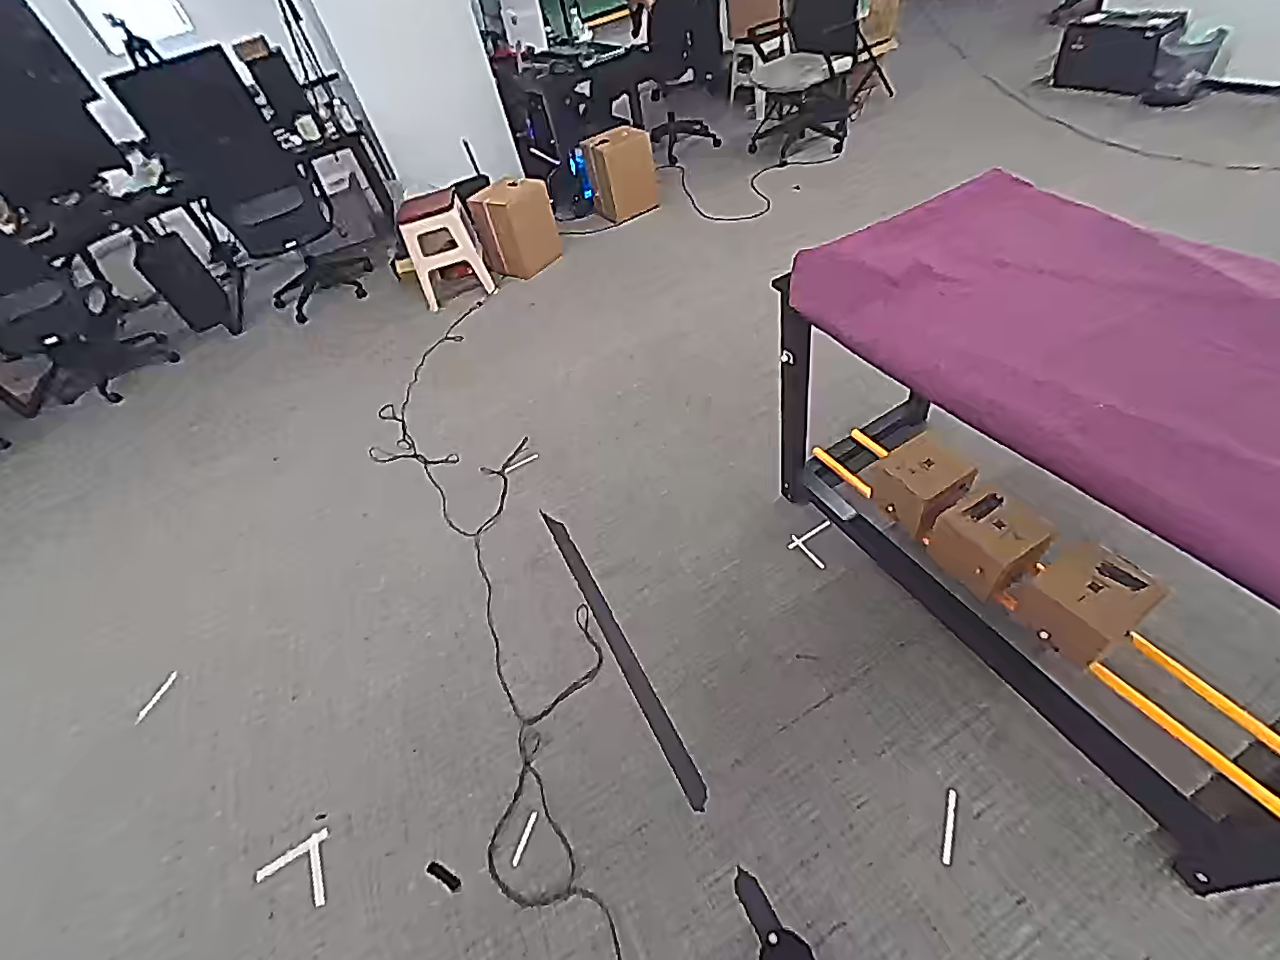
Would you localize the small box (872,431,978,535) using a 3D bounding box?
[{"bbox_3d":[0.733,0.010,1.416,0.179,0.176,0.168,-30,49,-9],"label":"small box"}]

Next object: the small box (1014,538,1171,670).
[{"bbox_3d":[0.935,0.262,1.138,0.179,0.176,0.168,-32,47,-10],"label":"small box"}]
